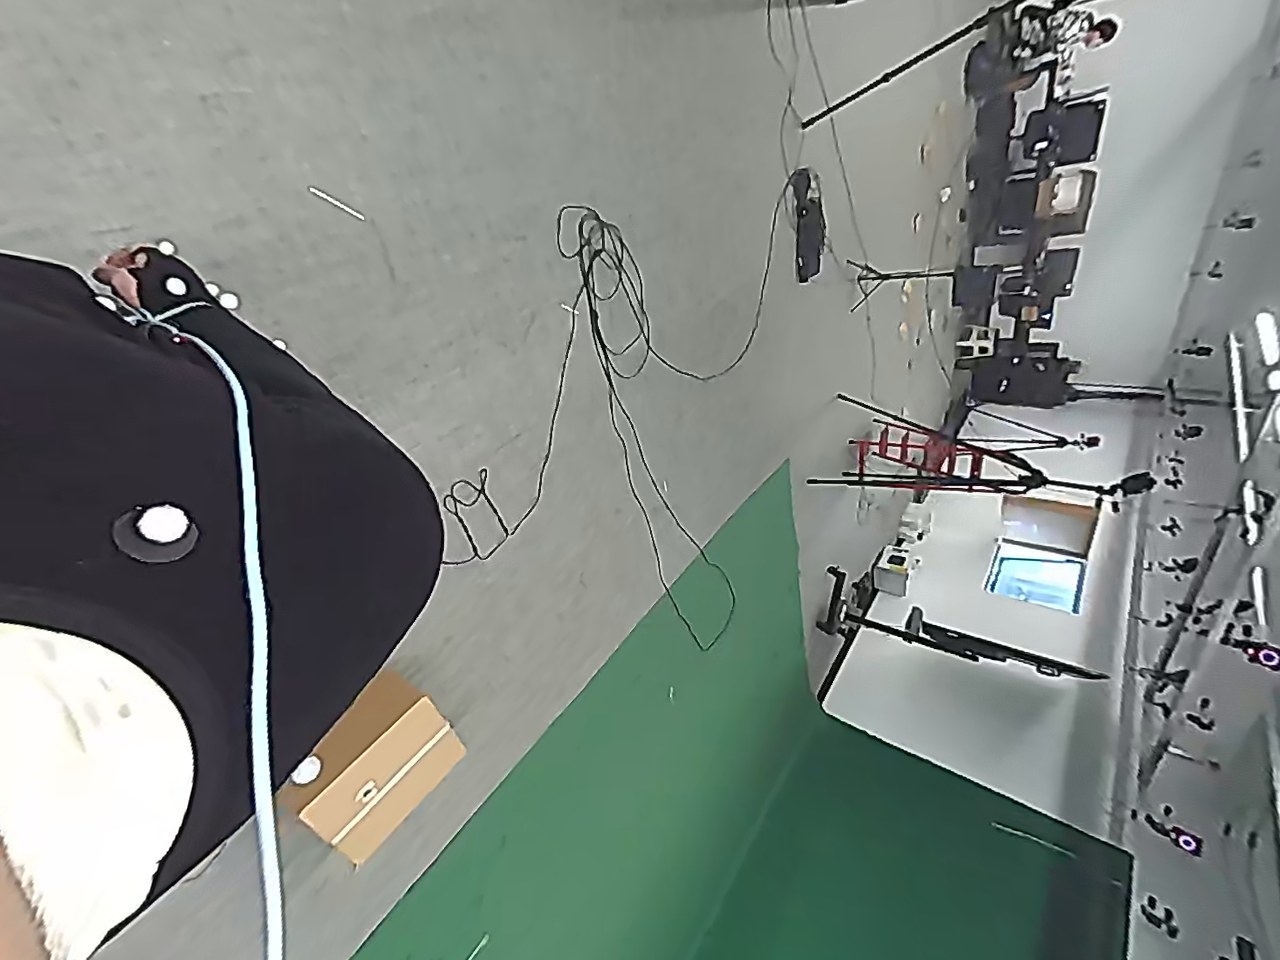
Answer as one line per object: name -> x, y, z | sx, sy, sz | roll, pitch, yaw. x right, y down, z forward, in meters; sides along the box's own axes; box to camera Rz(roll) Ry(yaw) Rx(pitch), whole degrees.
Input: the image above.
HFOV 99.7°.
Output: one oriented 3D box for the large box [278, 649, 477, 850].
large box -> -0.807, 0.819, 1.694 | 0.408, 0.320, 0.320 | -43, 130, -34
